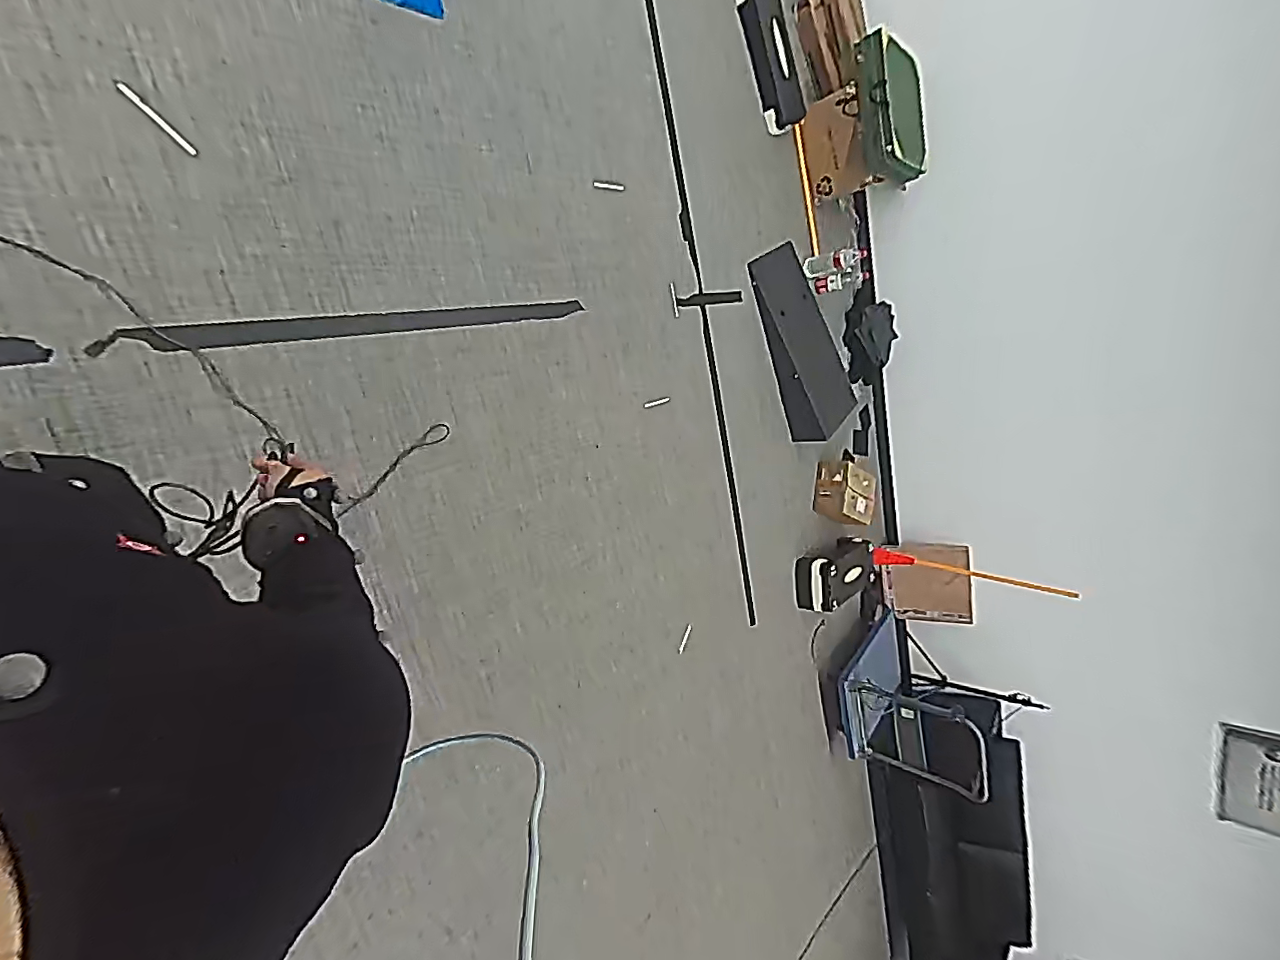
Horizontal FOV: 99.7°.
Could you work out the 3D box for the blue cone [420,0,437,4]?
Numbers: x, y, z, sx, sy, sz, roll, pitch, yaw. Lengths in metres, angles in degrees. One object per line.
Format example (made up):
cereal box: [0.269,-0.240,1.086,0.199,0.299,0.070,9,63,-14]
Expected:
blue cone: [-0.492,-1.330,1.257,0.193,0.380,0.192,-23,106,-45]
